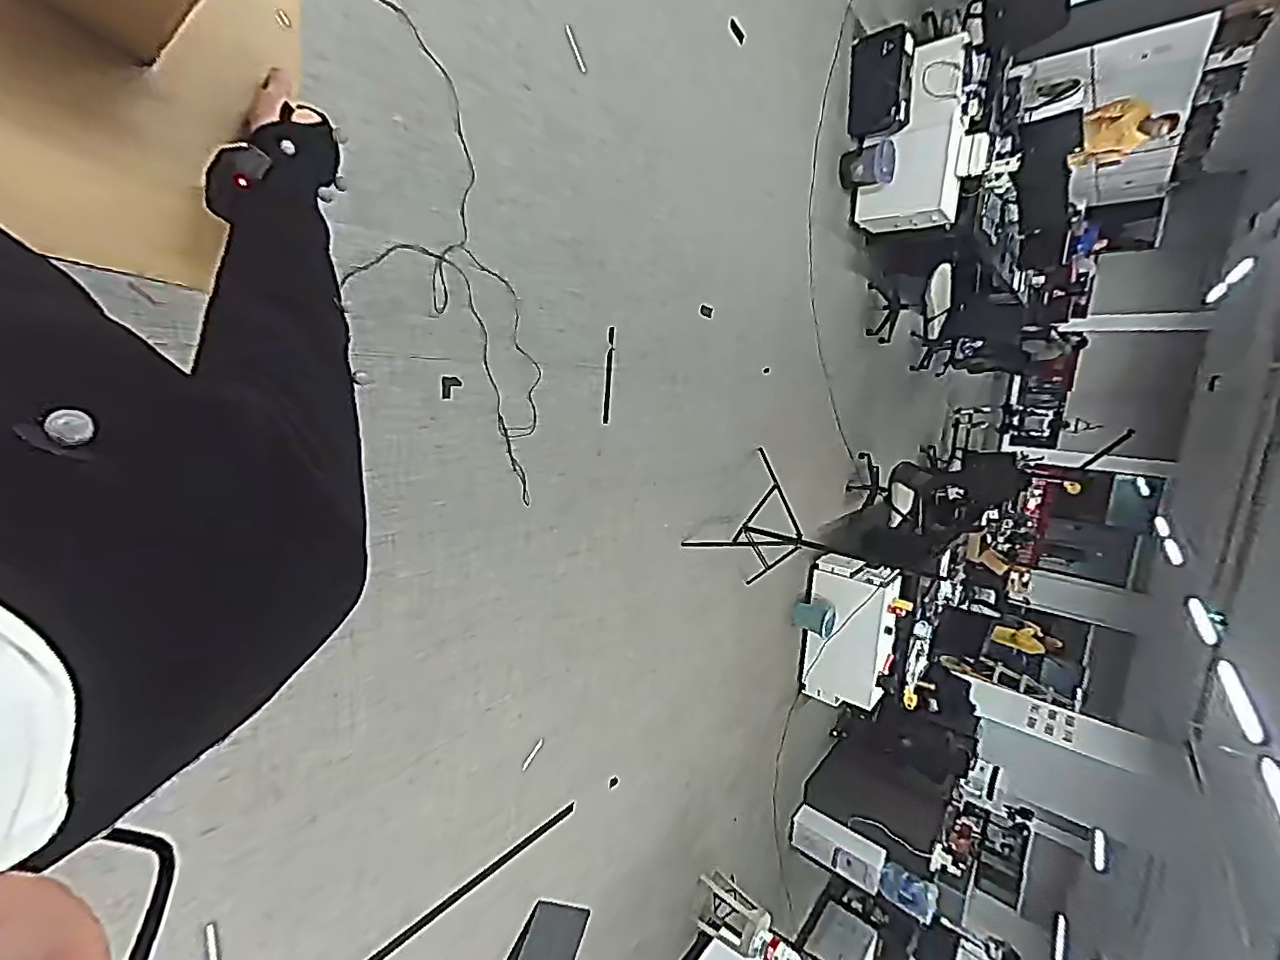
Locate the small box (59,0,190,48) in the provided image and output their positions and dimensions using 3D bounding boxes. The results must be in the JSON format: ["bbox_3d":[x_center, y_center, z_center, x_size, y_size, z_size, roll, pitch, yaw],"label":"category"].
[{"bbox_3d":[-0.424,-0.480,0.397,0.179,0.176,0.168,17,79,-53],"label":"small box"}]
